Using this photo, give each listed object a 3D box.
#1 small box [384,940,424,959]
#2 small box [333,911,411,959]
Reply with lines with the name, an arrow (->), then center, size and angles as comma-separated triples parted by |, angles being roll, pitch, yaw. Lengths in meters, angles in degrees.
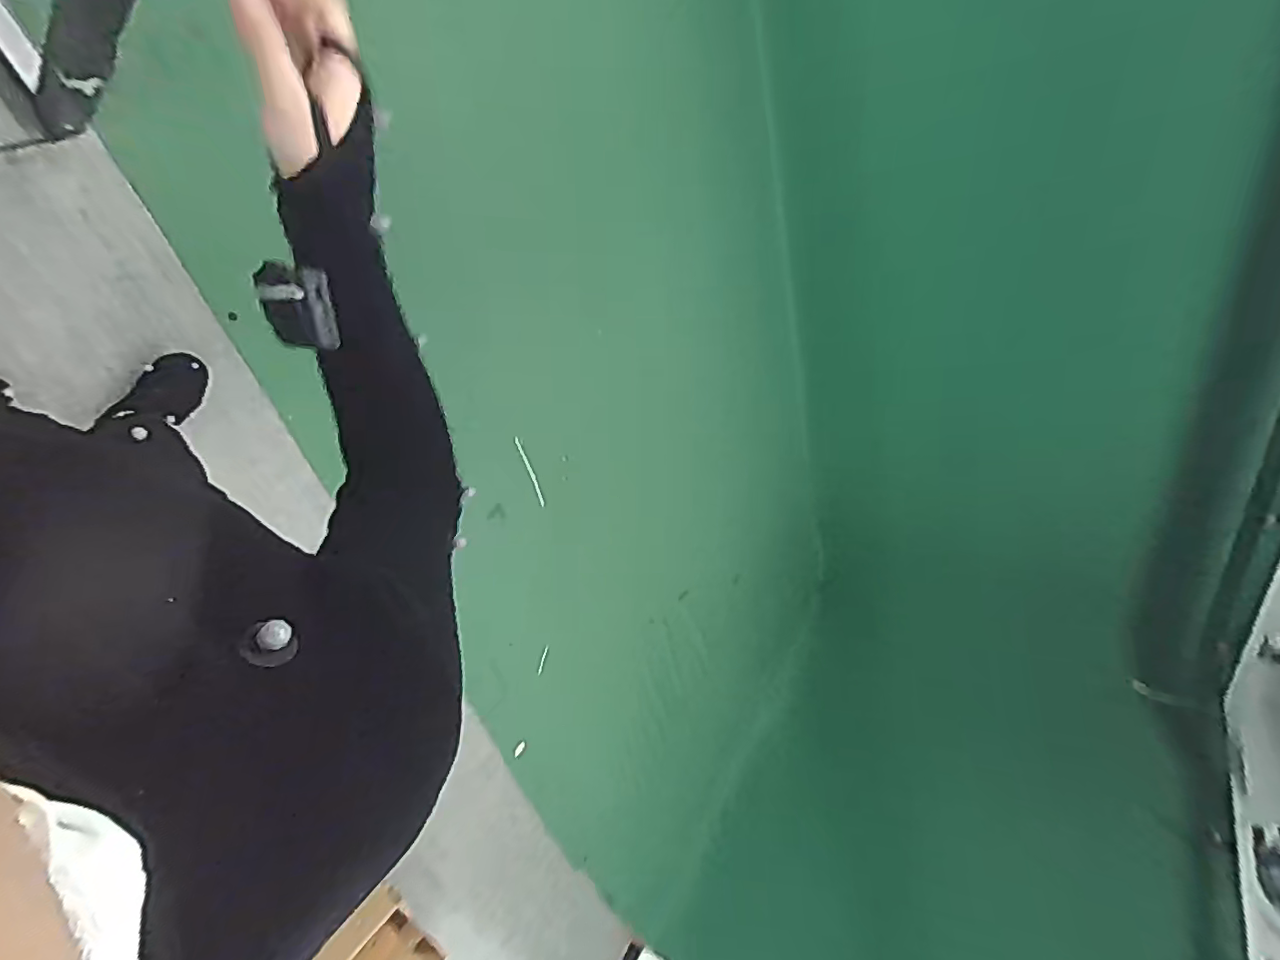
small box -> -0.715, 1.551, 1.621 | 0.179, 0.176, 0.168 | -42, 128, -37
small box -> -0.839, 1.532, 1.725 | 0.168, 0.176, 0.179 | -41, 128, -39
